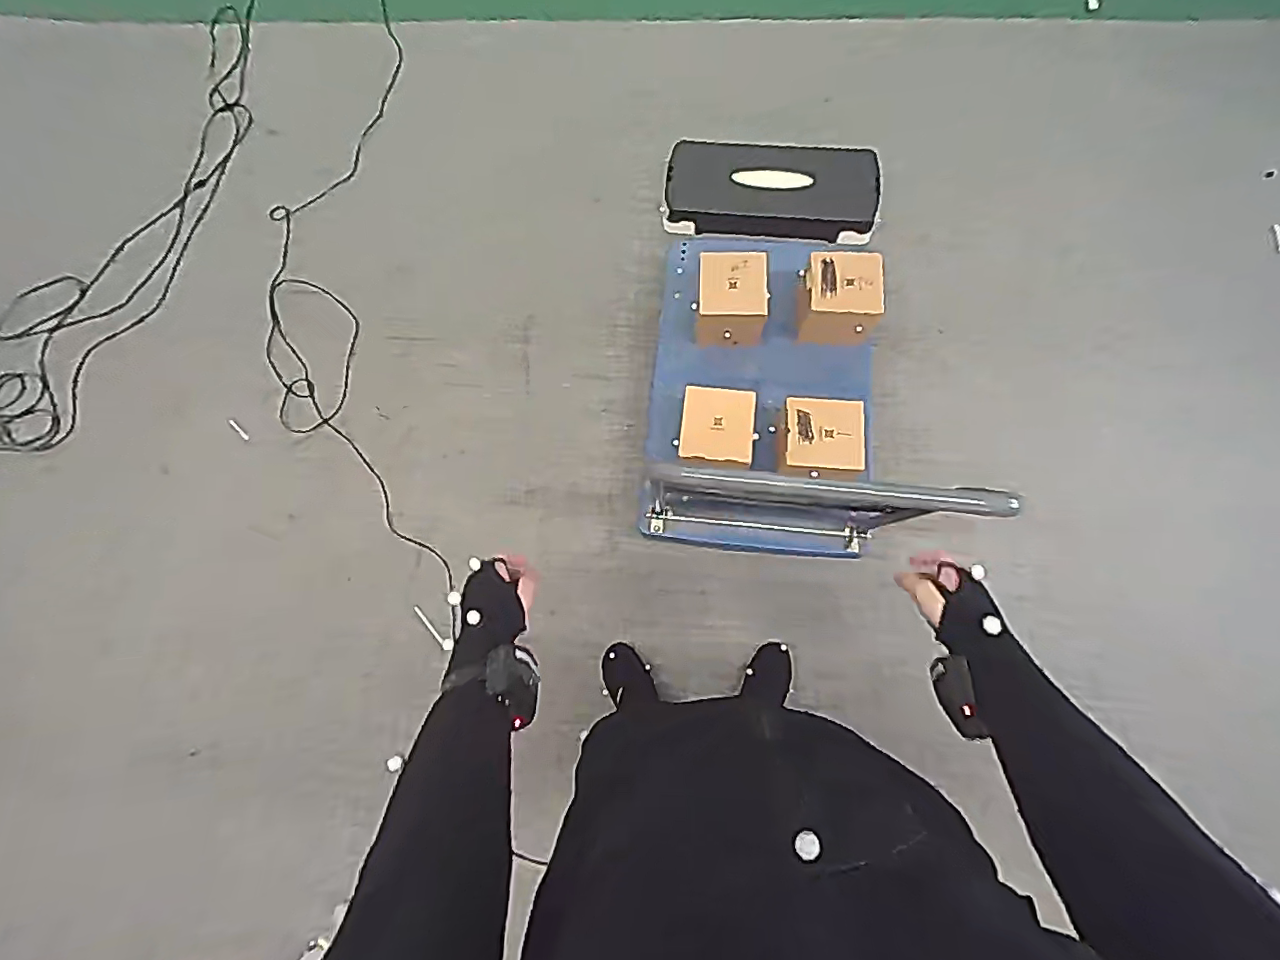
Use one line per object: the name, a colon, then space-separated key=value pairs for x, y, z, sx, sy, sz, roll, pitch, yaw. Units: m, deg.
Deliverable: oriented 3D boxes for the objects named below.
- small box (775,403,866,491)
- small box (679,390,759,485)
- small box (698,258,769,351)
small box: x=0.427 y=-0.074 z=1.301 sx=0.179 sy=0.176 sz=0.168 roll=5 pitch=77 yaw=3
small box: x=0.187 y=-0.098 z=1.320 sx=0.168 sy=0.176 sz=0.179 roll=6 pitch=77 yaw=3
small box: x=0.239 y=-0.450 z=1.407 sx=0.168 sy=0.176 sz=0.179 roll=2 pitch=76 yaw=3
